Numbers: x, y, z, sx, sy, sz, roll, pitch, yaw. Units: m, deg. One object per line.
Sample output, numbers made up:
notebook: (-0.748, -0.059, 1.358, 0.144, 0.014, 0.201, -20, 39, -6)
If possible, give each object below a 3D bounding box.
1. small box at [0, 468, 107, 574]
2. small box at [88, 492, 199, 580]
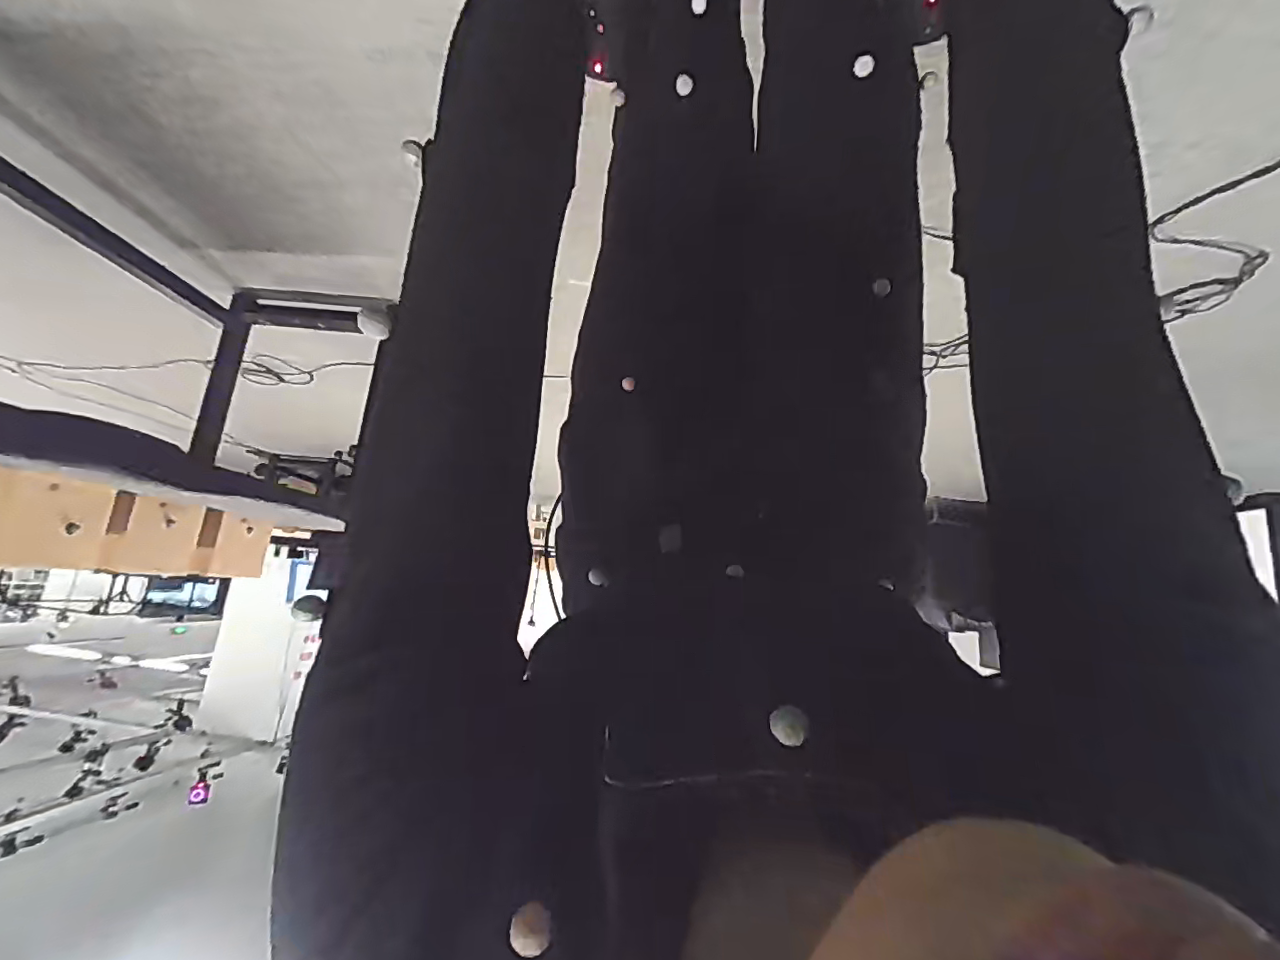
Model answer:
small box: (-1.104, 0.071, 0.952, 0.179, 0.176, 0.168, 6, 168, 6)
small box: (-1.114, 0.119, 1.171, 0.179, 0.176, 0.168, 5, 168, 7)
